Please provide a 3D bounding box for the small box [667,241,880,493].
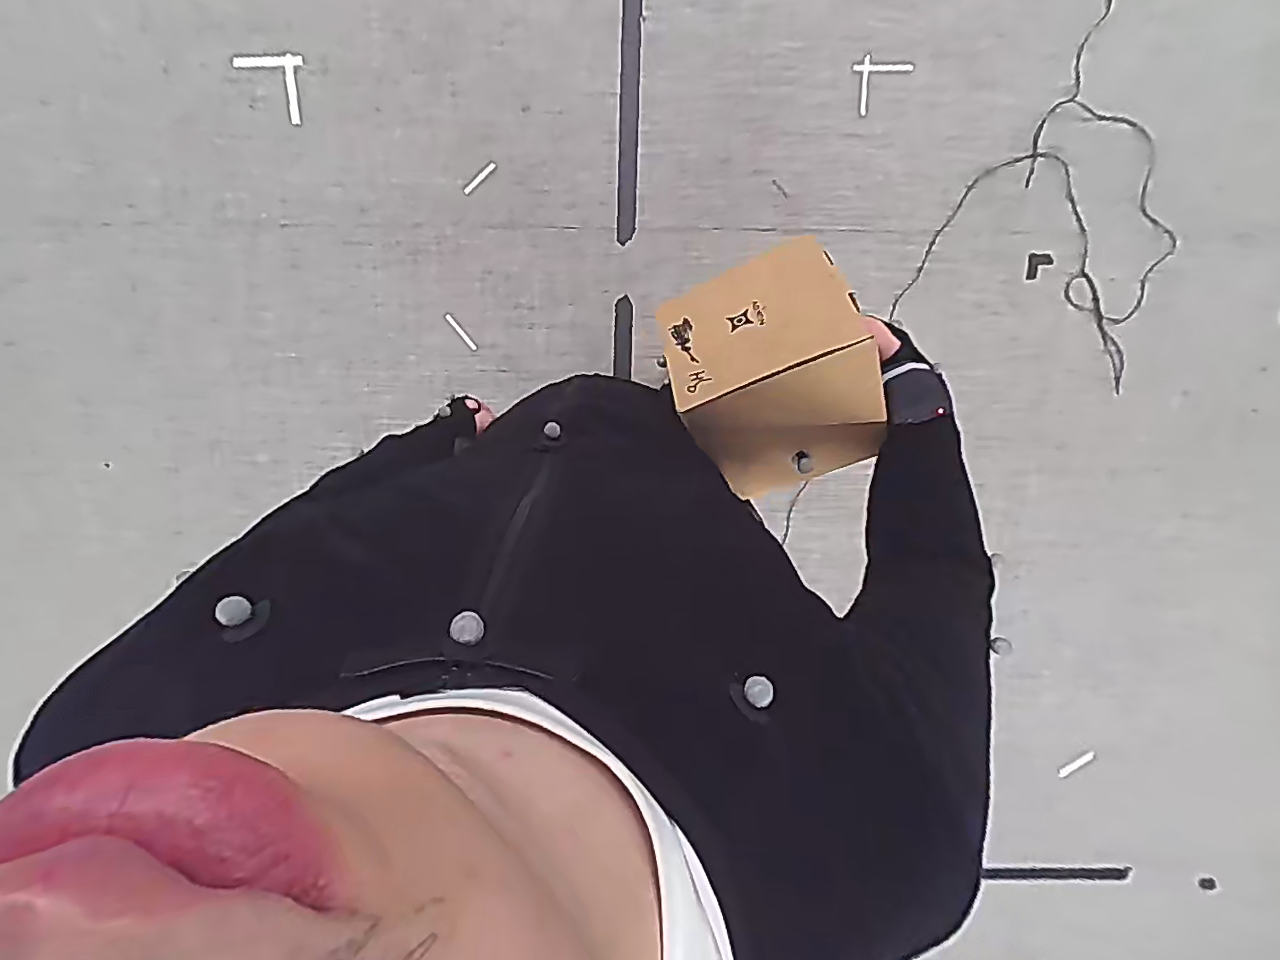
[{"bbox_3d":[0.147,-0.112,0.586,0.179,0.168,0.176,-20,140,16],"label":"small box"}]
